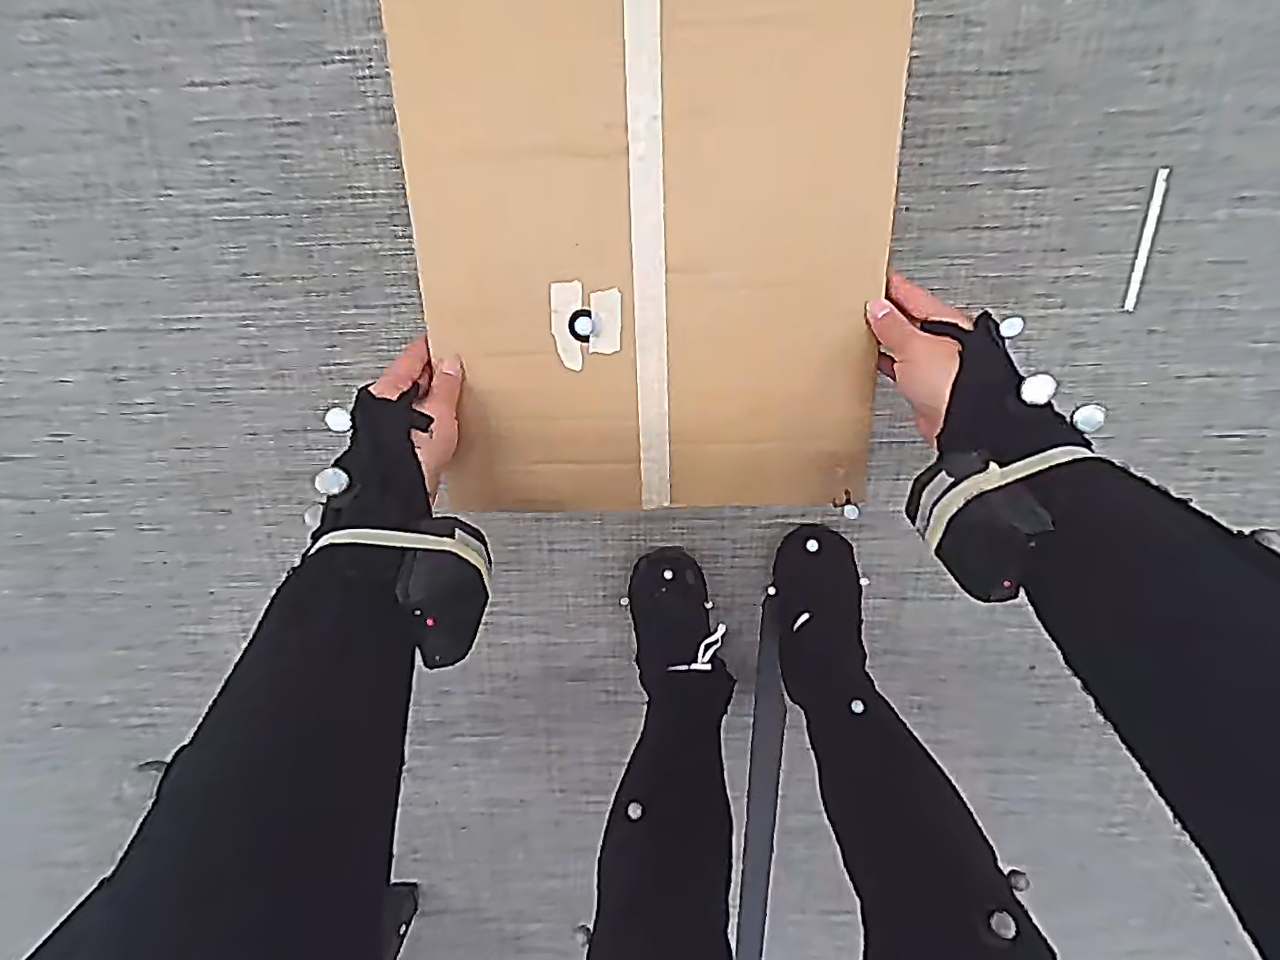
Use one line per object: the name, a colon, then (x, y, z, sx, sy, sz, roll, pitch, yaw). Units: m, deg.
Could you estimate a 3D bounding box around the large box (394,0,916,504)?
large box: (0.016, -0.223, 0.493, 0.320, 0.320, 0.408, -2, 108, 2)
